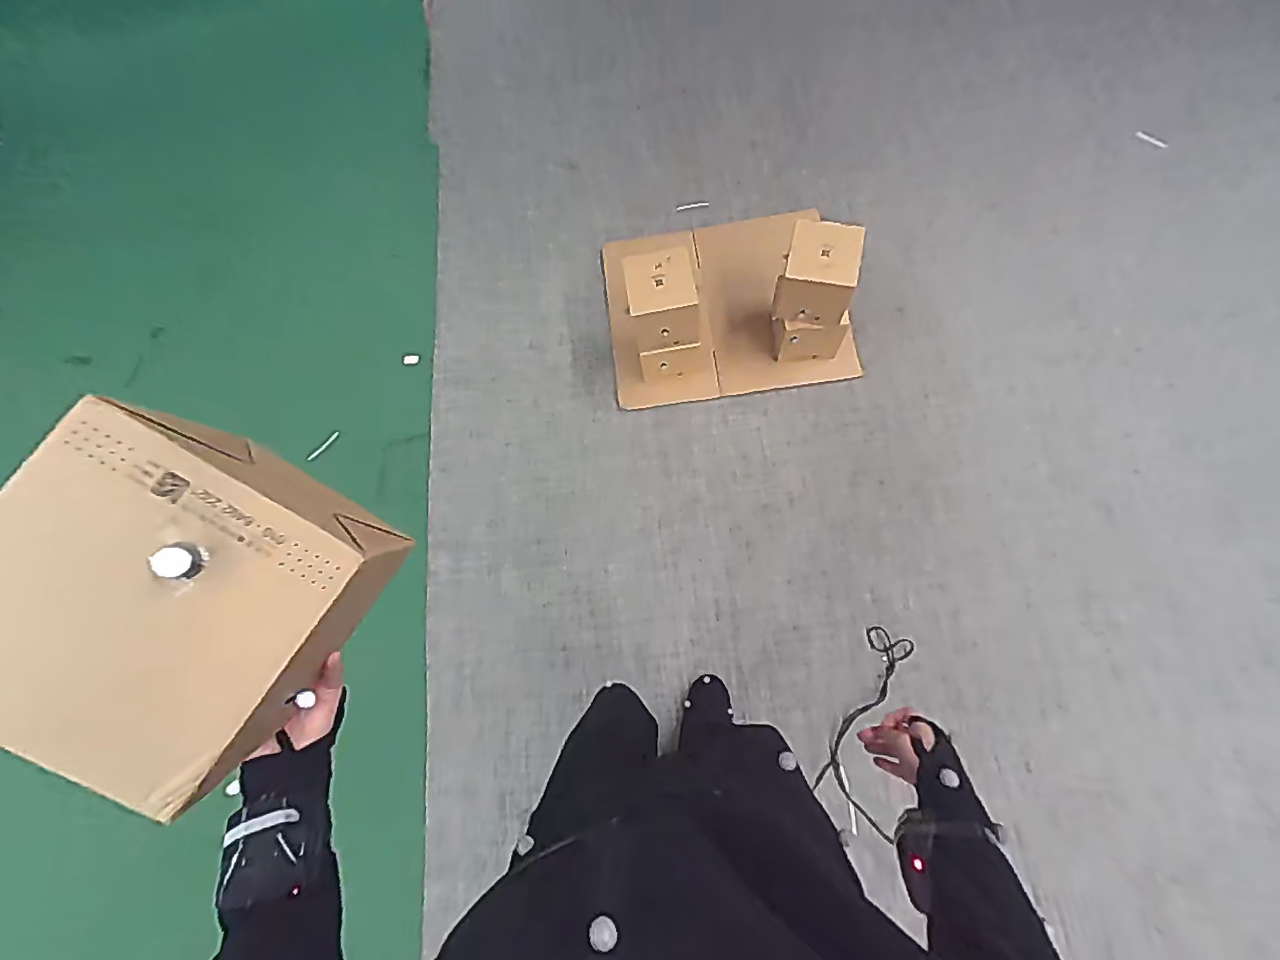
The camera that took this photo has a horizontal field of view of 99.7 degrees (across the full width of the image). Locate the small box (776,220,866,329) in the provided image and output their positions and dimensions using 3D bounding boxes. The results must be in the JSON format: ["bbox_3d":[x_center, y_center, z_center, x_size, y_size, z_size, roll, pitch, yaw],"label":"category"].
[{"bbox_3d":[0.443,-0.506,1.343,0.168,0.176,0.179,12,73,9],"label":"small box"}]

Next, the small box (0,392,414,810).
[{"bbox_3d":[-0.278,0.067,0.366,0.168,0.179,0.176,34,78,-9],"label":"small box"}]

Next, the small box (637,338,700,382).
[{"bbox_3d":[0.077,-0.392,1.523,0.168,0.176,0.179,-9,70,3],"label":"small box"}]

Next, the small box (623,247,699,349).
[{"bbox_3d":[0.057,-0.450,1.369,0.168,0.176,0.179,-9,70,3],"label":"small box"}]
